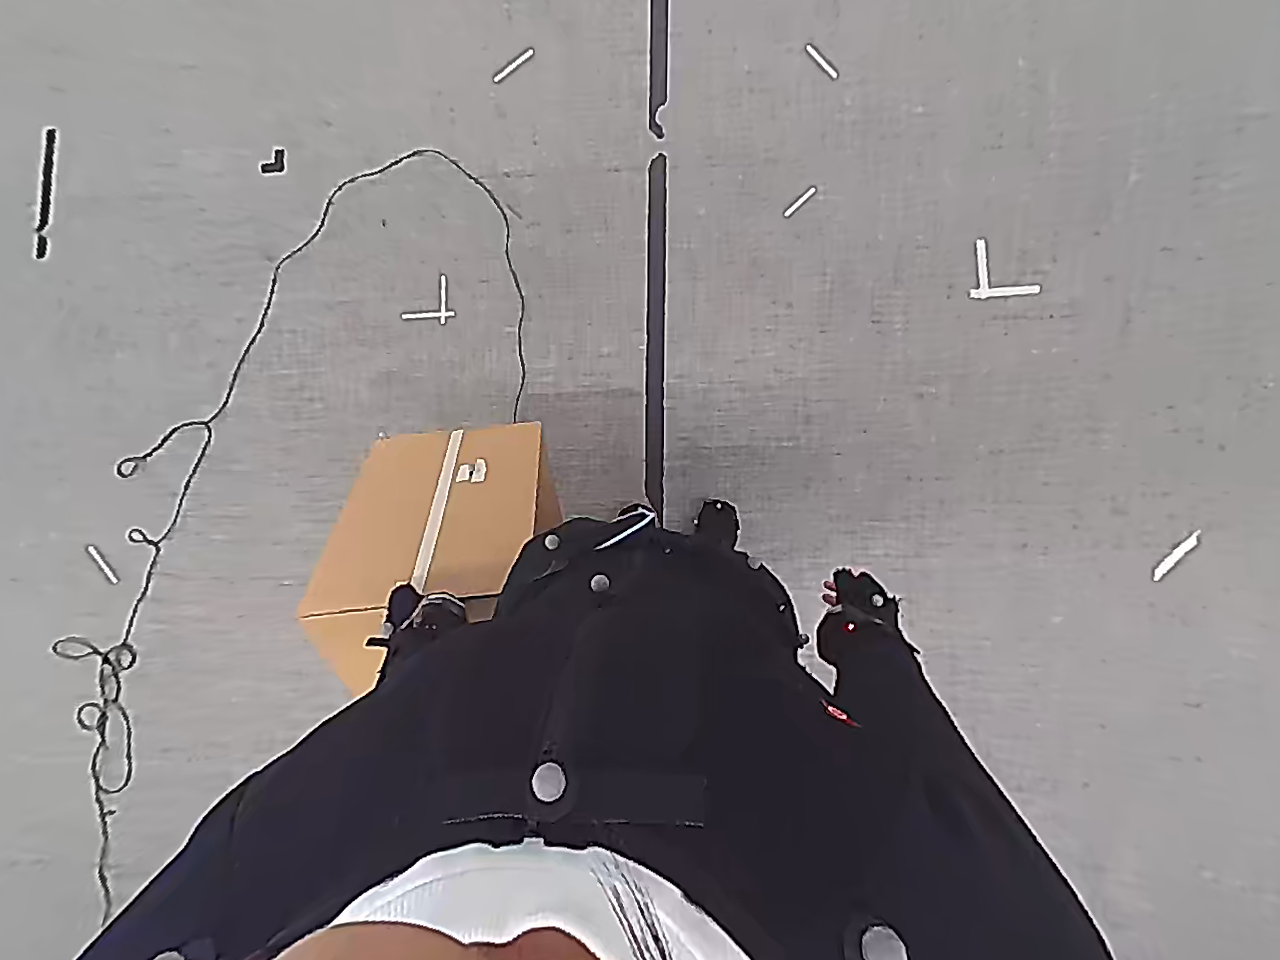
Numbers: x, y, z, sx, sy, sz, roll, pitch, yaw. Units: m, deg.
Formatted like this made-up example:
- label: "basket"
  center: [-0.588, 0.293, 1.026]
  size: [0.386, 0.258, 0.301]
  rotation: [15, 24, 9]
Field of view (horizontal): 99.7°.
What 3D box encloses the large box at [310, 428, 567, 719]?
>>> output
- label: "large box"
  center: [-0.309, 0.156, 0.984]
  size: [0.320, 0.408, 0.320]
  rotation: [-6, 130, -1]
